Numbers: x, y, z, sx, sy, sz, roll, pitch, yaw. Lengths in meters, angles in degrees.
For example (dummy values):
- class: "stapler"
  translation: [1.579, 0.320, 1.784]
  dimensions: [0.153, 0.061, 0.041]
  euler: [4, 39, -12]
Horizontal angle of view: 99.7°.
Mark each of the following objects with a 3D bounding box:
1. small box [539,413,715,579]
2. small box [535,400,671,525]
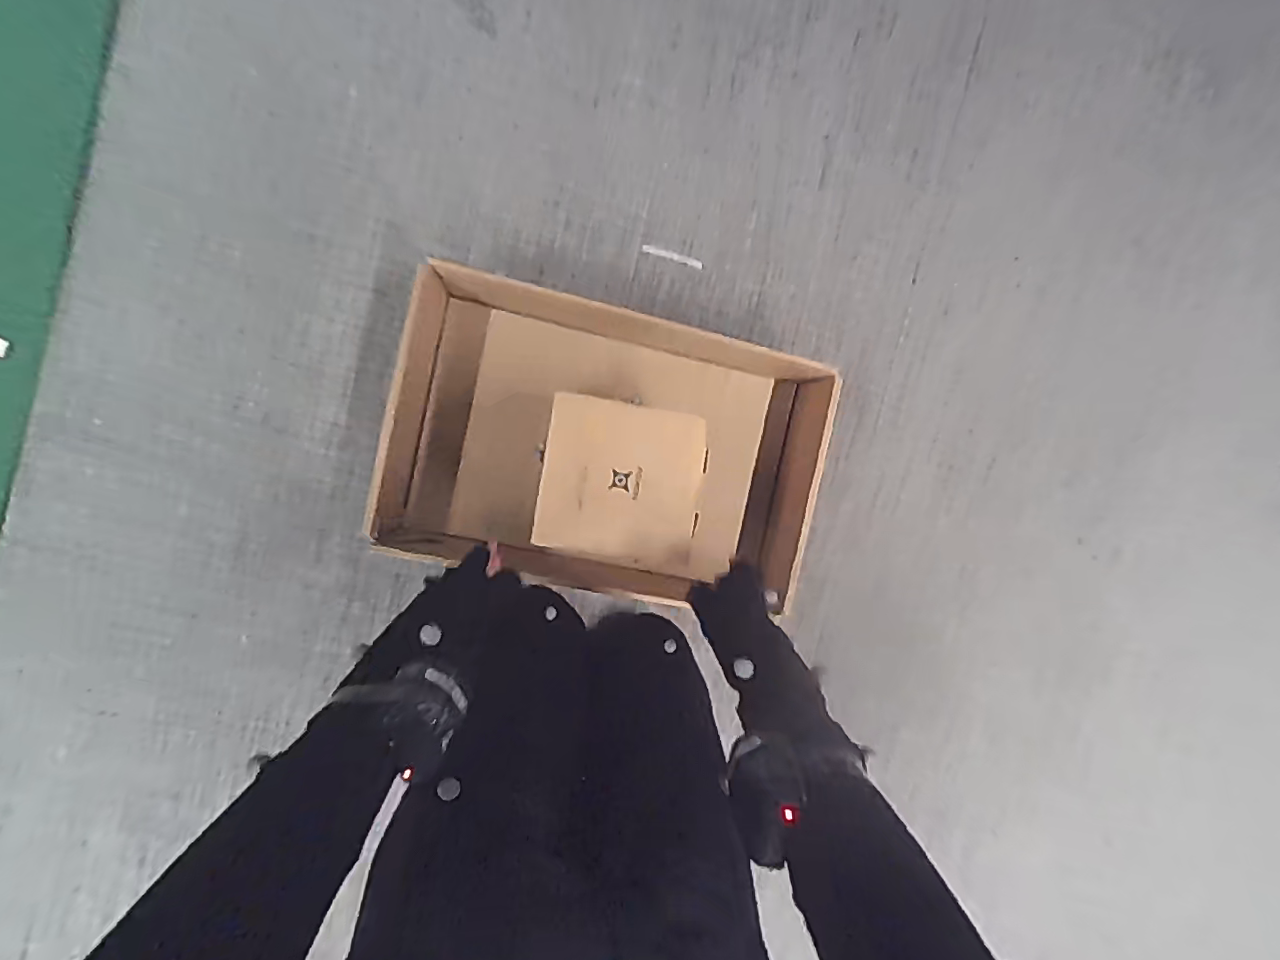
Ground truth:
- class: "small box"
  translation: [-0.026, 0.015, 0.650]
  dimensions: [0.179, 0.176, 0.168]
  euler: [5, 91, -11]
- class: "small box"
  translation: [-0.059, -0.011, 0.825]
  dimensions: [0.168, 0.176, 0.179]
  euler: [12, 90, -10]
